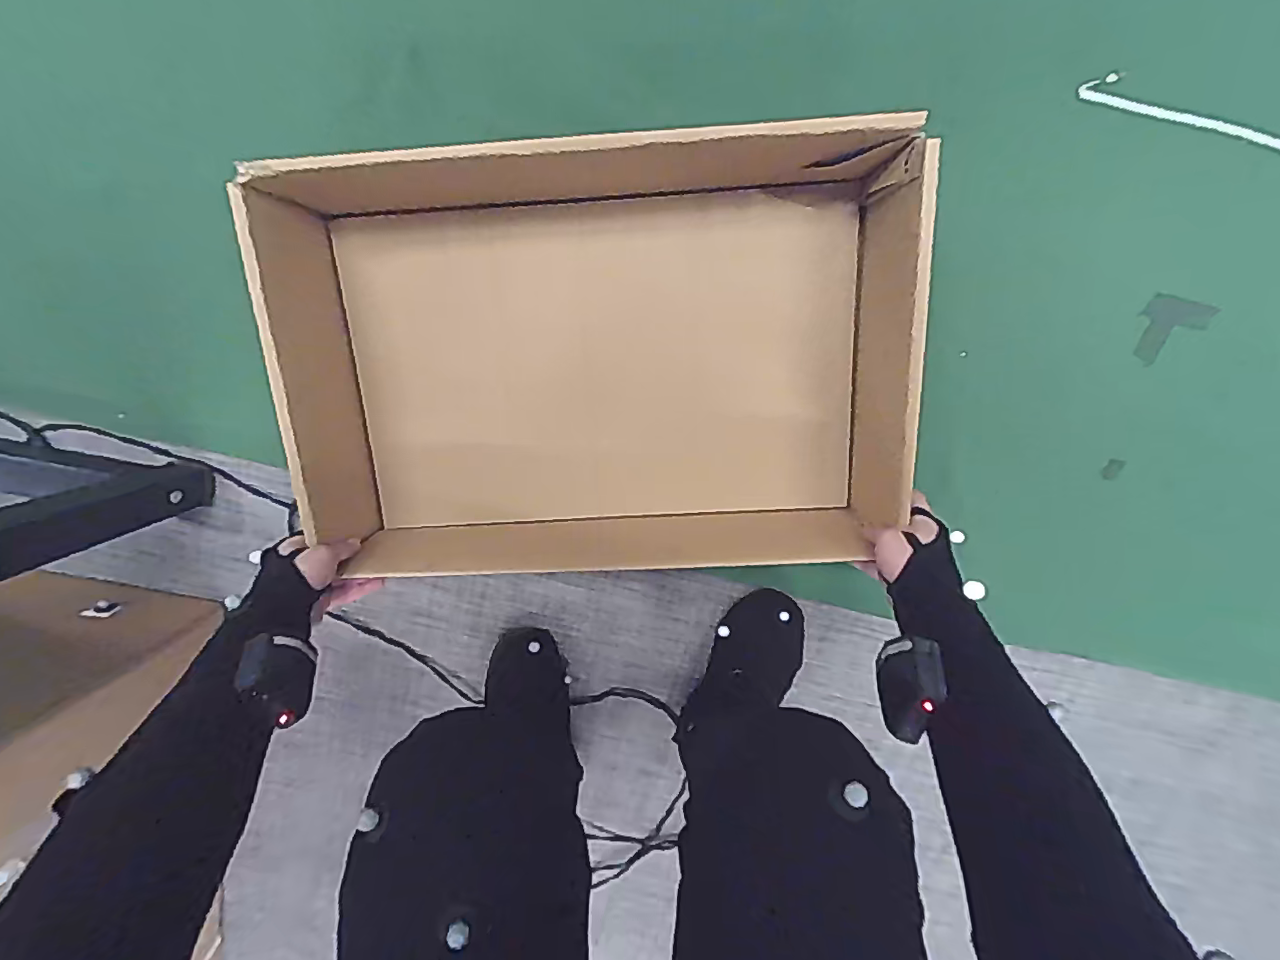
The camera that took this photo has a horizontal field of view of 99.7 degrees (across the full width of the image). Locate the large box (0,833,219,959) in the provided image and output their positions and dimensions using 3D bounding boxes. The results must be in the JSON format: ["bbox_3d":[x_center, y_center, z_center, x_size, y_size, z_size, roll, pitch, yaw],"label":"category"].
[{"bbox_3d":[-0.926,0.797,0.790,0.408,0.320,0.320,13,104,0],"label":"large box"}]
